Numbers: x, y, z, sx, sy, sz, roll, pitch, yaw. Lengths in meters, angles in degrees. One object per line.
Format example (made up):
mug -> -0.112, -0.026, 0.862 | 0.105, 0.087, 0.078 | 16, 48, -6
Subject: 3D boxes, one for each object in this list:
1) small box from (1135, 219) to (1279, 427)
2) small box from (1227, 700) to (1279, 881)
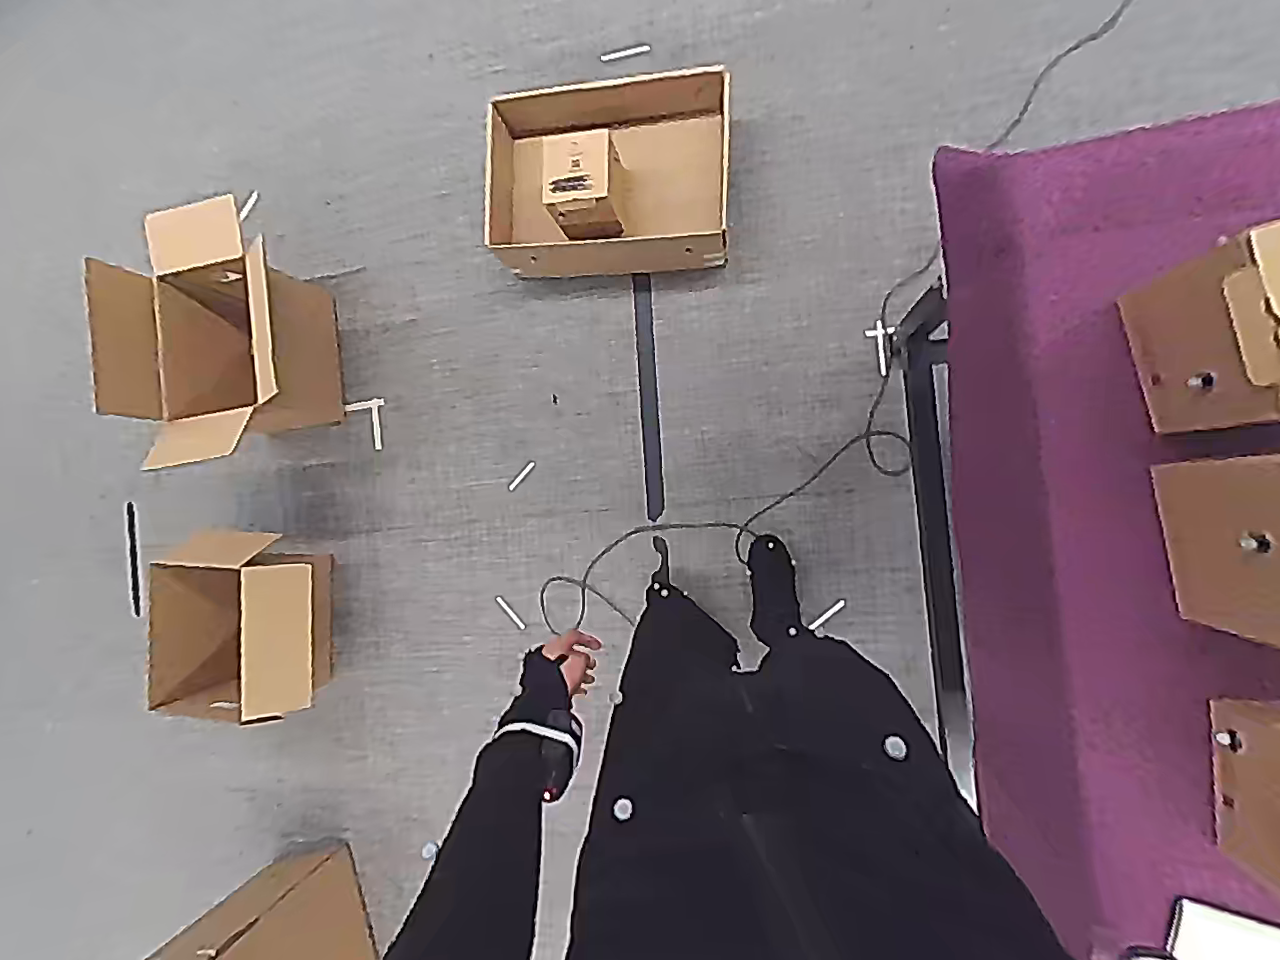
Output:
small box -> 0.629, -0.153, 0.517 | 0.179, 0.176, 0.168 | -13, 87, 12
small box -> 0.699, 0.315, 0.494 | 0.179, 0.176, 0.168 | -2, 89, 11
